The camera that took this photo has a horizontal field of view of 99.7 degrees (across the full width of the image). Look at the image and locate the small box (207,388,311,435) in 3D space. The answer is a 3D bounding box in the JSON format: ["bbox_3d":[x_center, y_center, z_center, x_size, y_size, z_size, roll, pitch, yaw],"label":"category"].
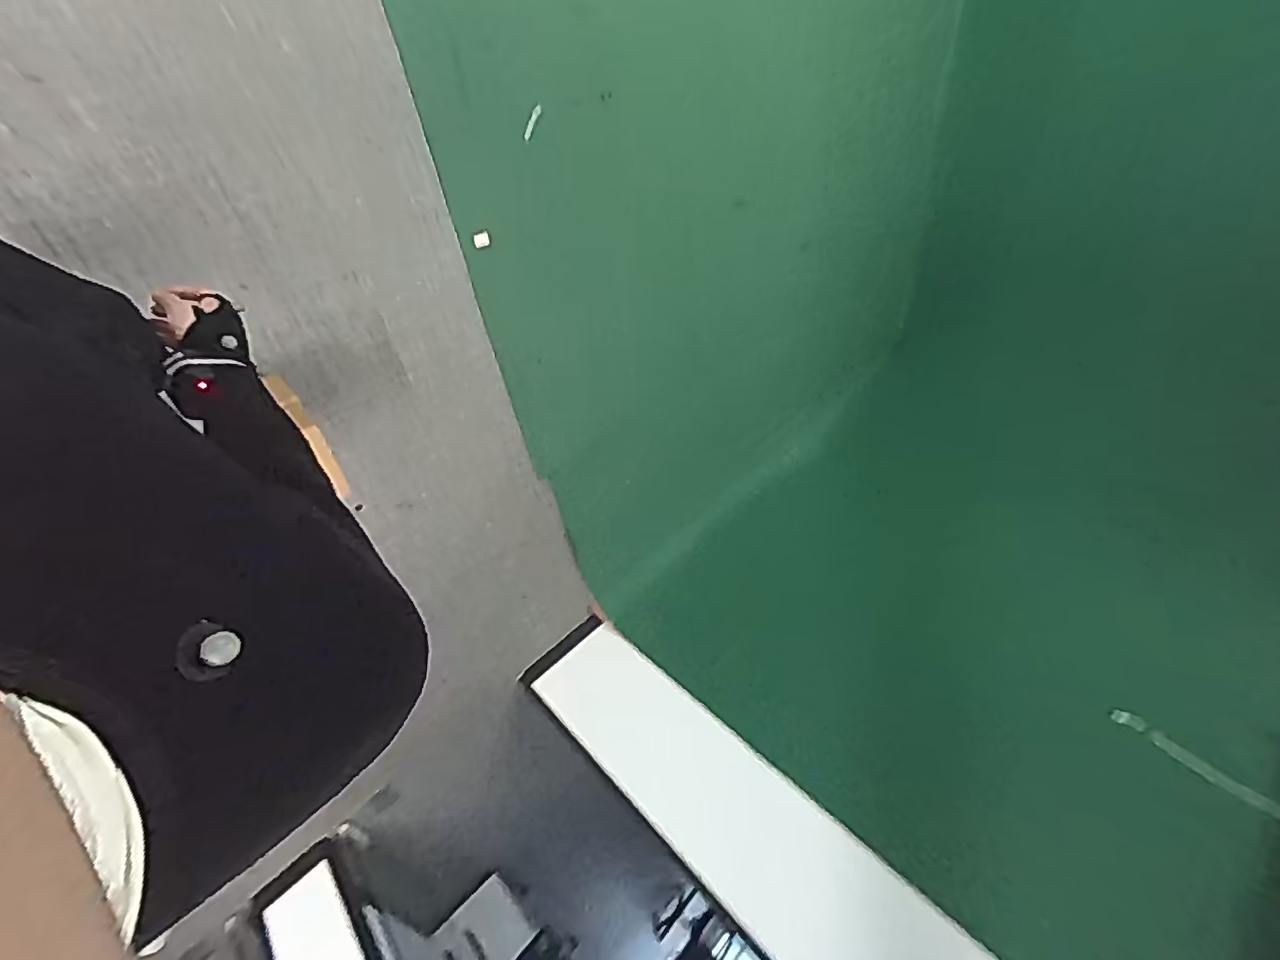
[{"bbox_3d":[-0.851,-0.099,1.241,0.168,0.176,0.179,-31,131,-31],"label":"small box"}]

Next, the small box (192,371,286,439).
[{"bbox_3d":[-0.966,-0.155,1.344,0.179,0.176,0.168,-31,132,-31],"label":"small box"}]

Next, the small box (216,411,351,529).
[{"bbox_3d":[-0.757,-0.032,1.147,0.168,0.176,0.179,-32,133,-30],"label":"small box"}]
